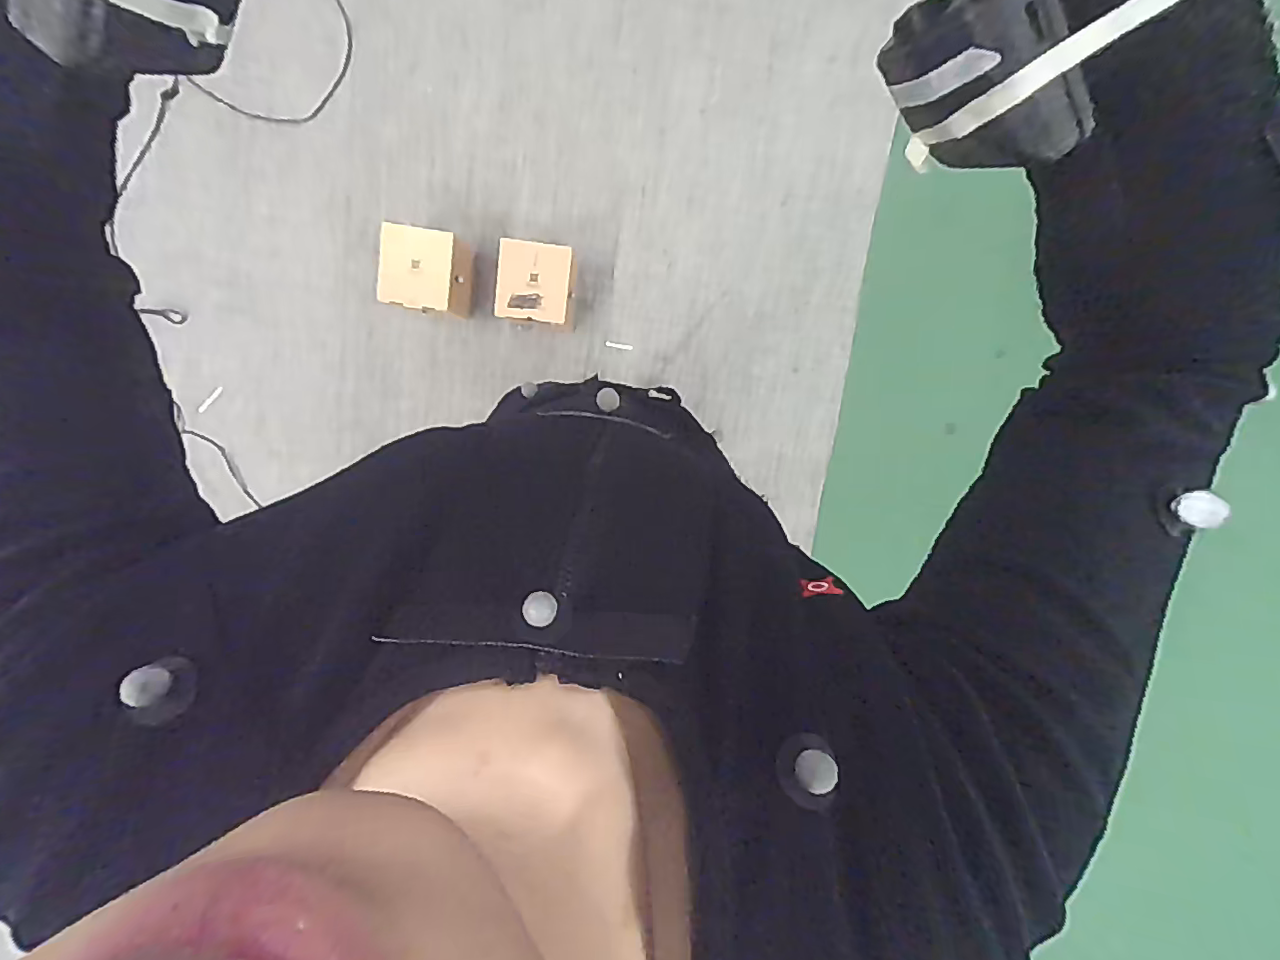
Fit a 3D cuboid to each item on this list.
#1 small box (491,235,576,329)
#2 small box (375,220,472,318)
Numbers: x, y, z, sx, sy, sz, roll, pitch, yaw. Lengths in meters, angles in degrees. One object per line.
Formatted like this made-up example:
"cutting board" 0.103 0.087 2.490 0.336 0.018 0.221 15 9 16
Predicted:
"small box" -0.252 -0.471 1.314 0.168 0.176 0.179 7 98 -2
"small box" -0.516 -0.503 1.309 0.168 0.176 0.179 8 99 -1
